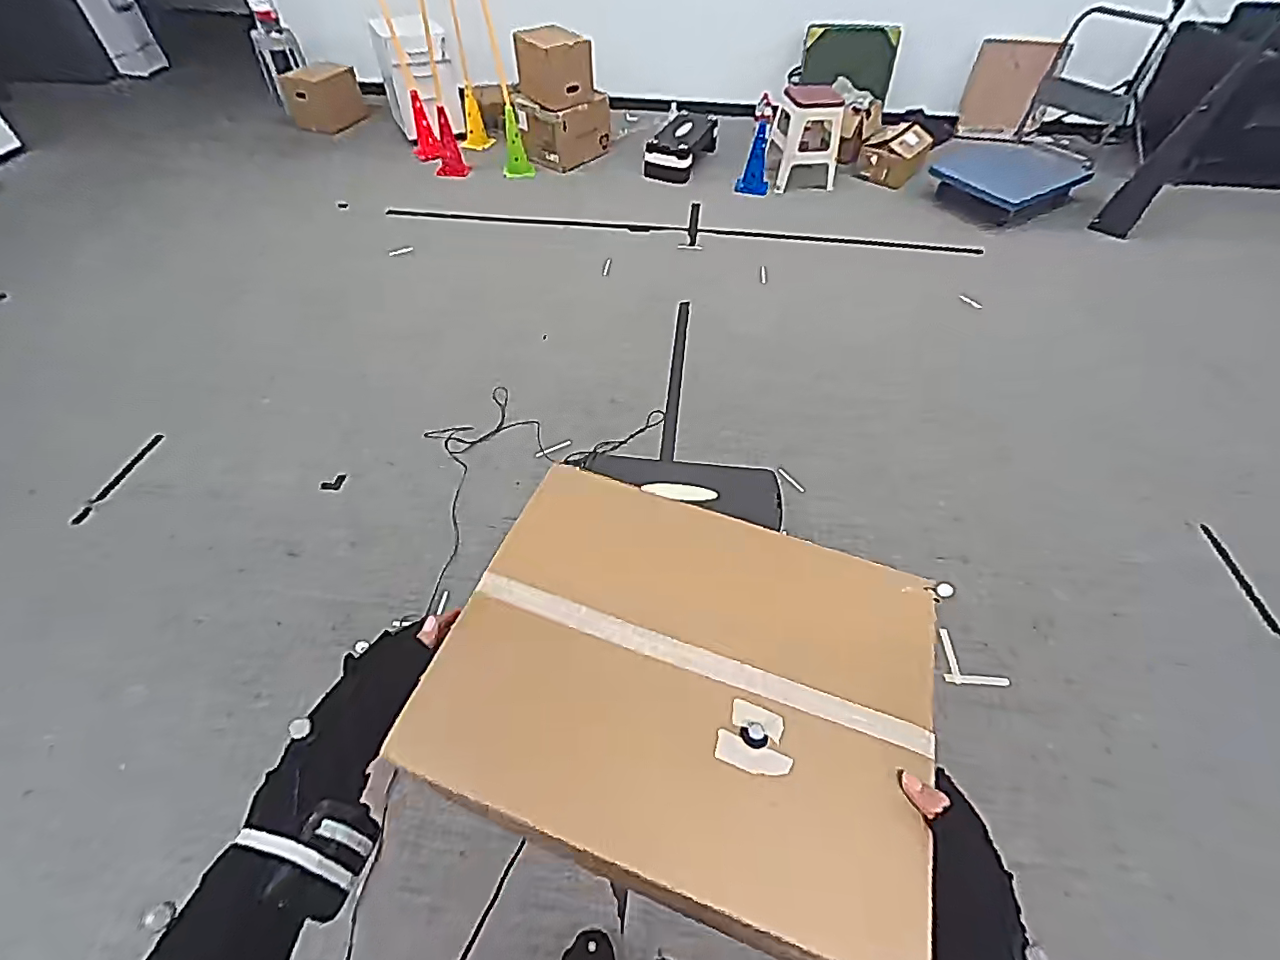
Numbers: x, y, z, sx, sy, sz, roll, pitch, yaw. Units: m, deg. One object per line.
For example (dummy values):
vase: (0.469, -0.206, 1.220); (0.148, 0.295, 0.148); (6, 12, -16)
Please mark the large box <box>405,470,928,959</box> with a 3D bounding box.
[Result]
large box: (0.039, 0.246, 0.597); (0.408, 0.320, 0.320); (18, 53, 11)
